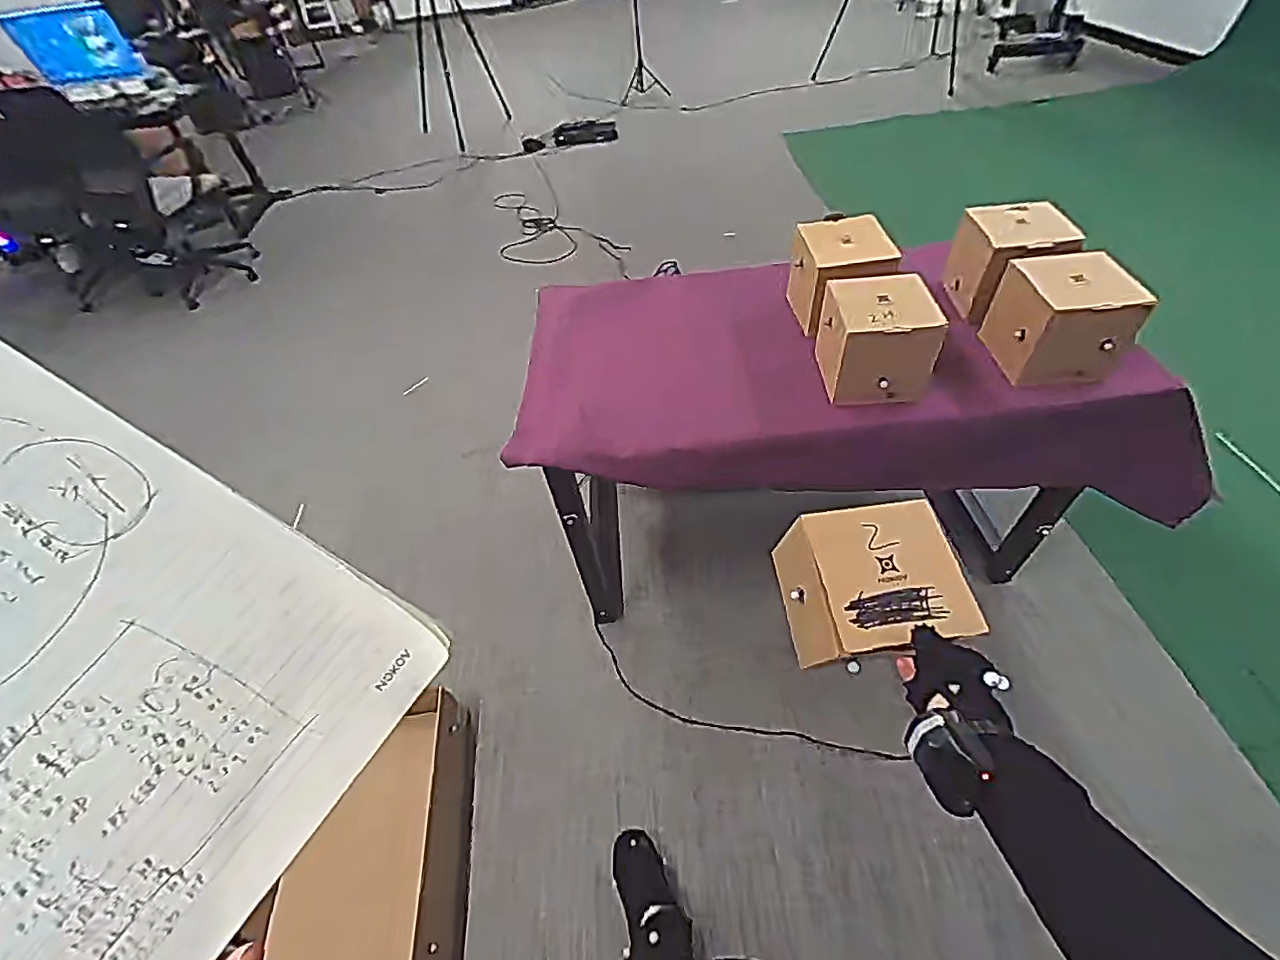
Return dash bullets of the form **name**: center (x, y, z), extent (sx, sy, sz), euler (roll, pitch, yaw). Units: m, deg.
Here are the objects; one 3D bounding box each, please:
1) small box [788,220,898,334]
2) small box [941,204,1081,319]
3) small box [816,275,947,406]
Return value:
- **small box**: center (0.429, -0.432, 1.171), extent (0.168, 0.176, 0.179), euler (-7, 49, 2)
- **small box**: center (0.767, -0.454, 1.142), extent (0.168, 0.176, 0.179), euler (-2, 50, 6)
- **small box**: center (0.439, -0.261, 1.019), extent (0.168, 0.176, 0.179), euler (-3, 49, 5)
